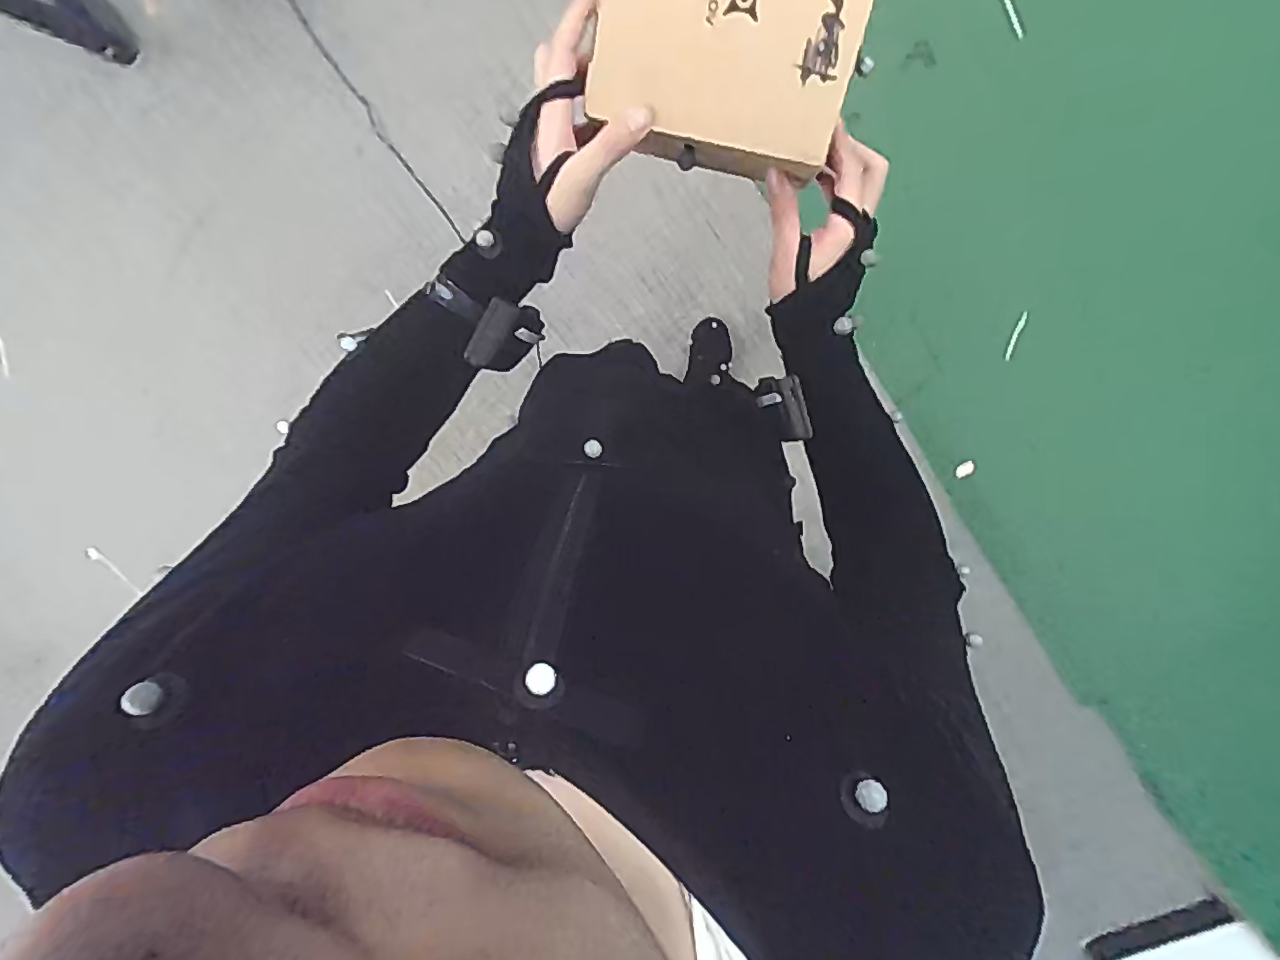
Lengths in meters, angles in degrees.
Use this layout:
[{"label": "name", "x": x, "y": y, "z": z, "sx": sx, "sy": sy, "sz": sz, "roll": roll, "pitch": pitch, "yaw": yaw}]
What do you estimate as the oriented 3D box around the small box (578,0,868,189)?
[{"label": "small box", "x": 0.072, "y": -0.337, "z": 0.417, "sx": 0.179, "sy": 0.176, "sz": 0.168, "roll": 16, "pitch": 114, "yaw": 6}]
